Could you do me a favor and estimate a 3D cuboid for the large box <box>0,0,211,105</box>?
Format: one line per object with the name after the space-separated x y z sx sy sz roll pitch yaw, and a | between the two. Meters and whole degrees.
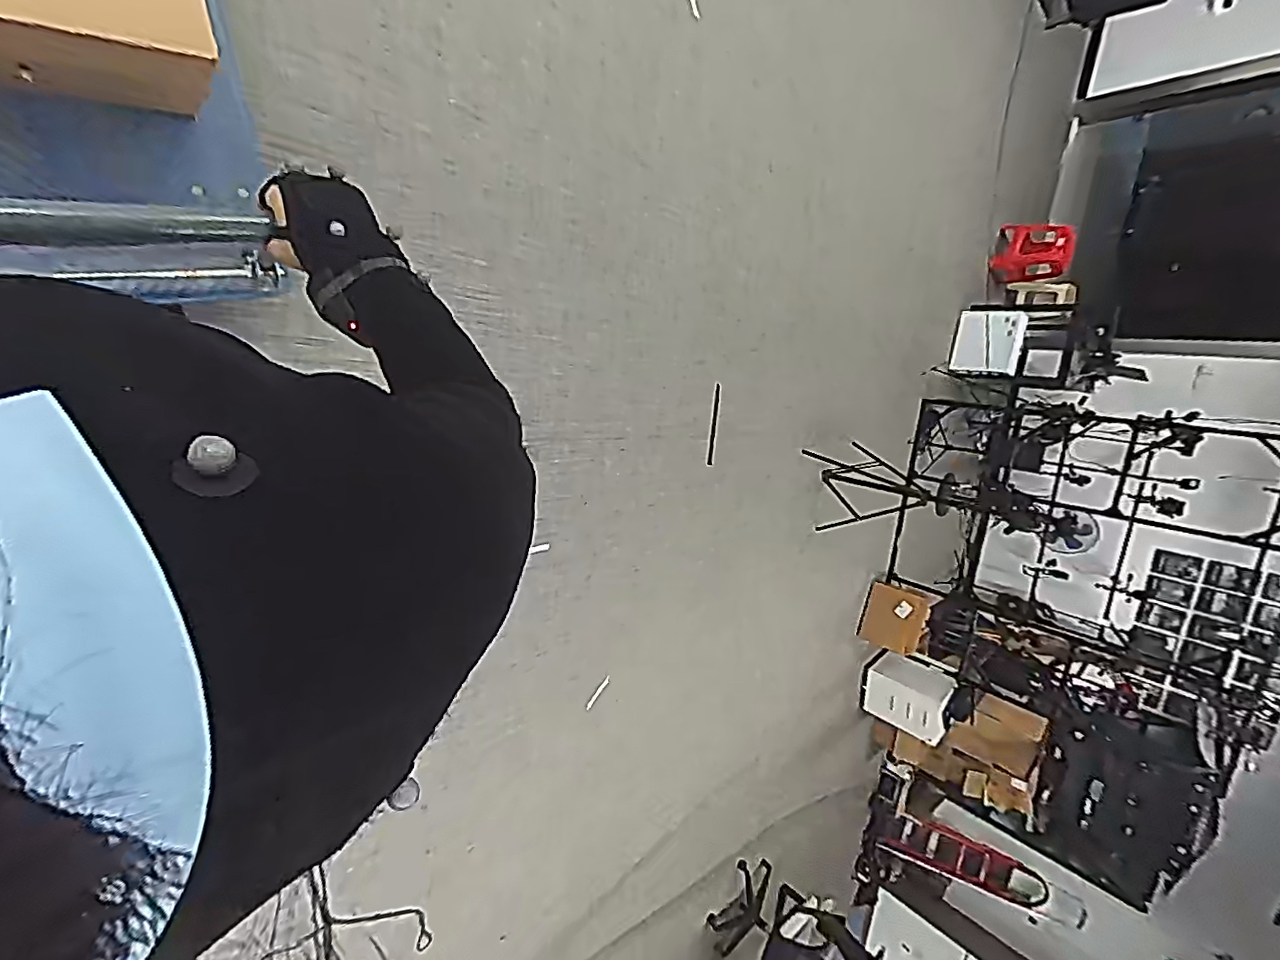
-0.844 -0.714 0.679 0.408 0.320 0.320 -19 115 -39 | large box
